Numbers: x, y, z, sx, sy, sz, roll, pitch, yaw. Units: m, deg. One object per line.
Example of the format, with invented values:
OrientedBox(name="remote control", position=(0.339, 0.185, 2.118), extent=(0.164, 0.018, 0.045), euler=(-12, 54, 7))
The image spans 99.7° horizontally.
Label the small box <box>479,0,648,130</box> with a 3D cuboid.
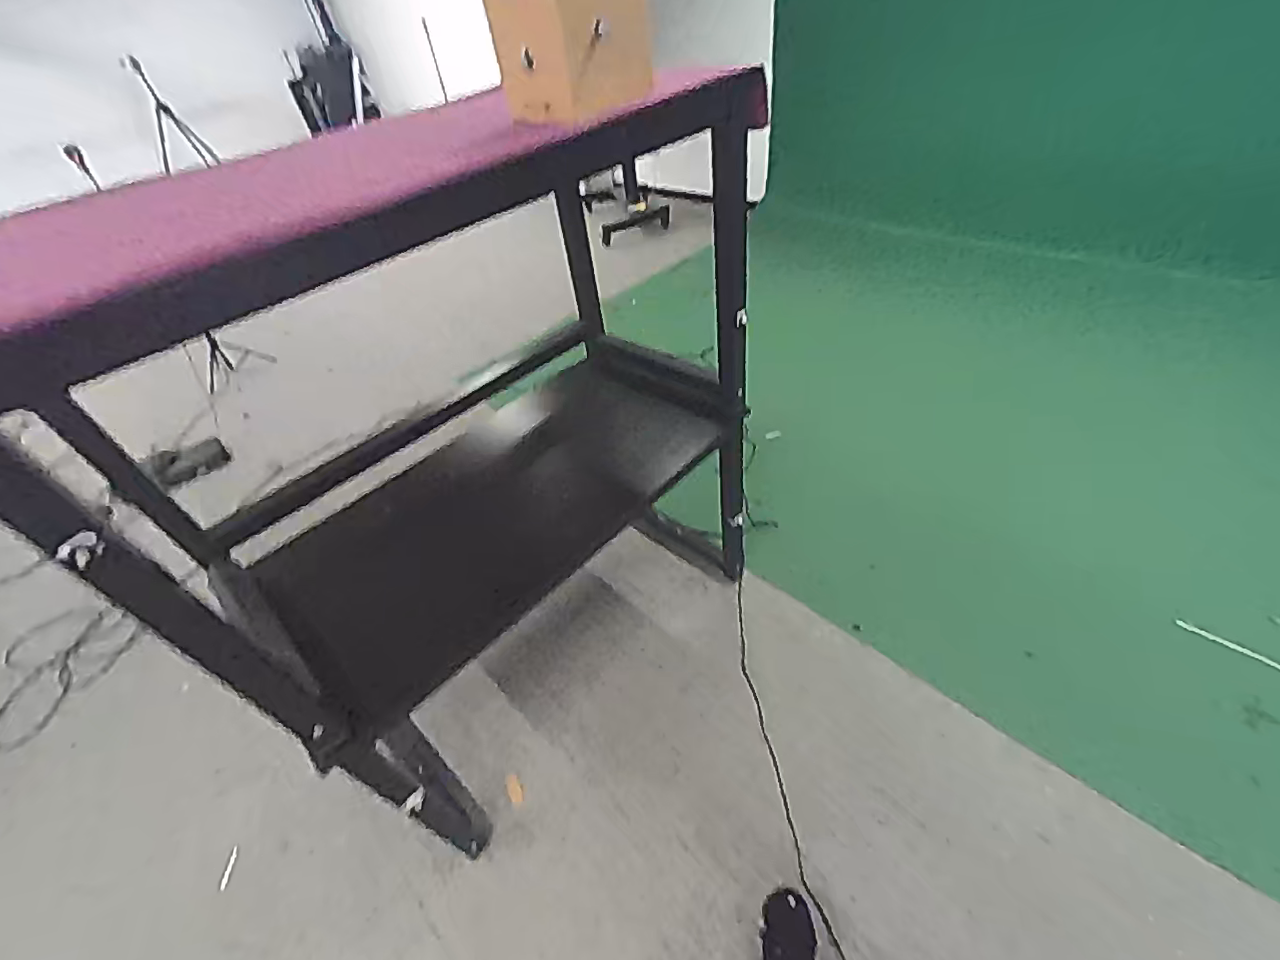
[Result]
OrientedBox(name="small box", position=(-0.104, -0.650, 0.818), extent=(0.168, 0.176, 0.179), euler=(30, 57, 34))
